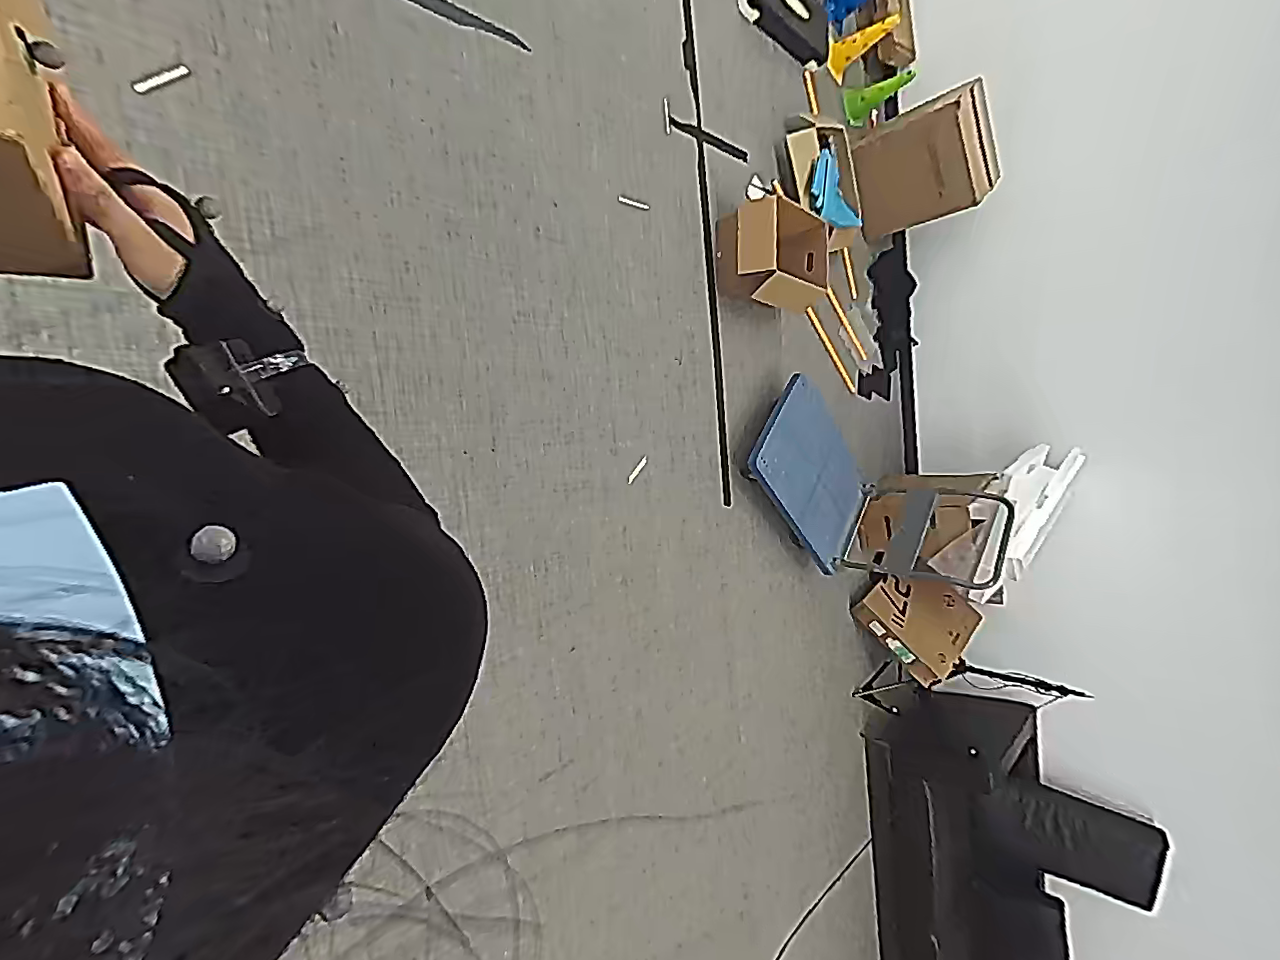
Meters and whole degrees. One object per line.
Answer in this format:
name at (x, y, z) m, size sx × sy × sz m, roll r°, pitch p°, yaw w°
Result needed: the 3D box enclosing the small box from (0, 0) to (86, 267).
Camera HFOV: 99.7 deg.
small box at (-0.416, -0.228, 0.270) m, size 0.168 × 0.176 × 0.179 m, roll -9°, pitch 88°, yaw -38°
